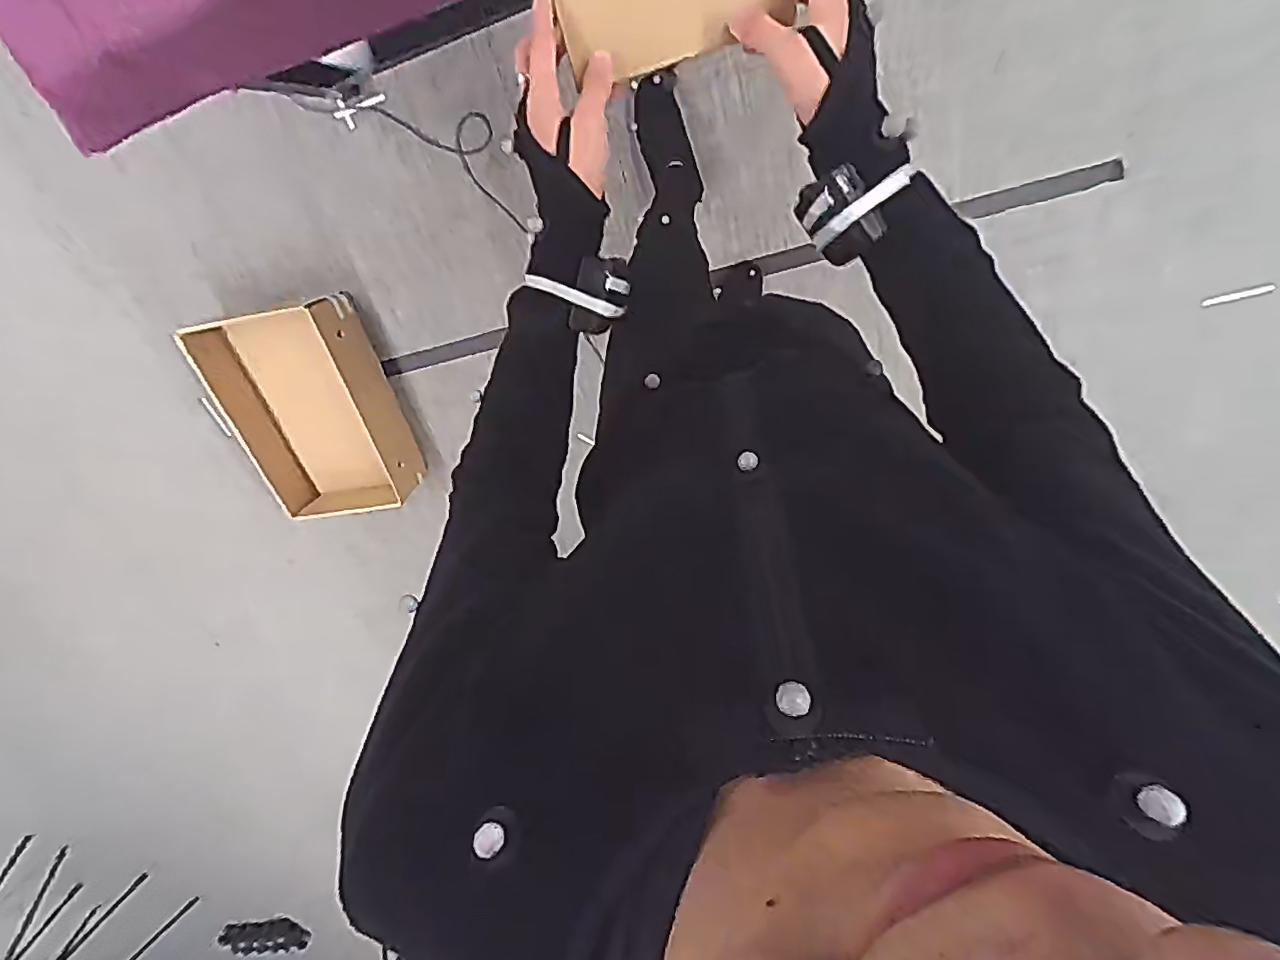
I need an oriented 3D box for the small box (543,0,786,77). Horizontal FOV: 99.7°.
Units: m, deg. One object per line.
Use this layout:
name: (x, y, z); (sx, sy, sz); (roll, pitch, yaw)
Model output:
small box: (0.000, -0.435, 0.419); (0.179, 0.176, 0.168); (-16, 126, 4)
